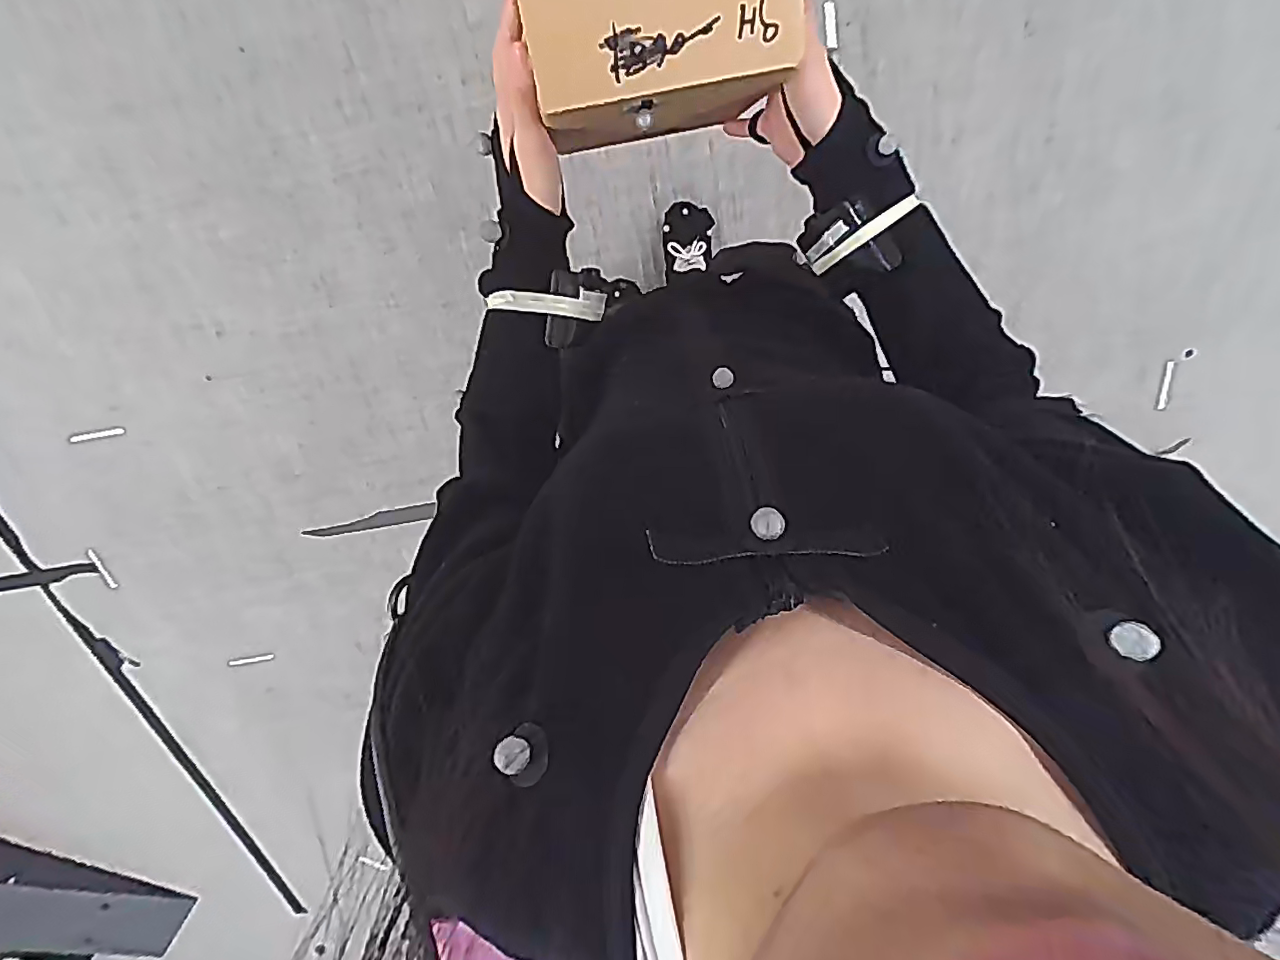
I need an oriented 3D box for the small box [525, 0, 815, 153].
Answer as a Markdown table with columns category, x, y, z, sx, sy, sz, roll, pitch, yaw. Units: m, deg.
| category | x | y | z | sx | sy | sz | roll | pitch | yaw |
| --- | --- | --- | --- | --- | --- | --- | --- | --- | --- |
| small box | 0.003 | -0.345 | 0.364 | 0.168 | 0.176 | 0.179 | -12 | 114 | -2 |
